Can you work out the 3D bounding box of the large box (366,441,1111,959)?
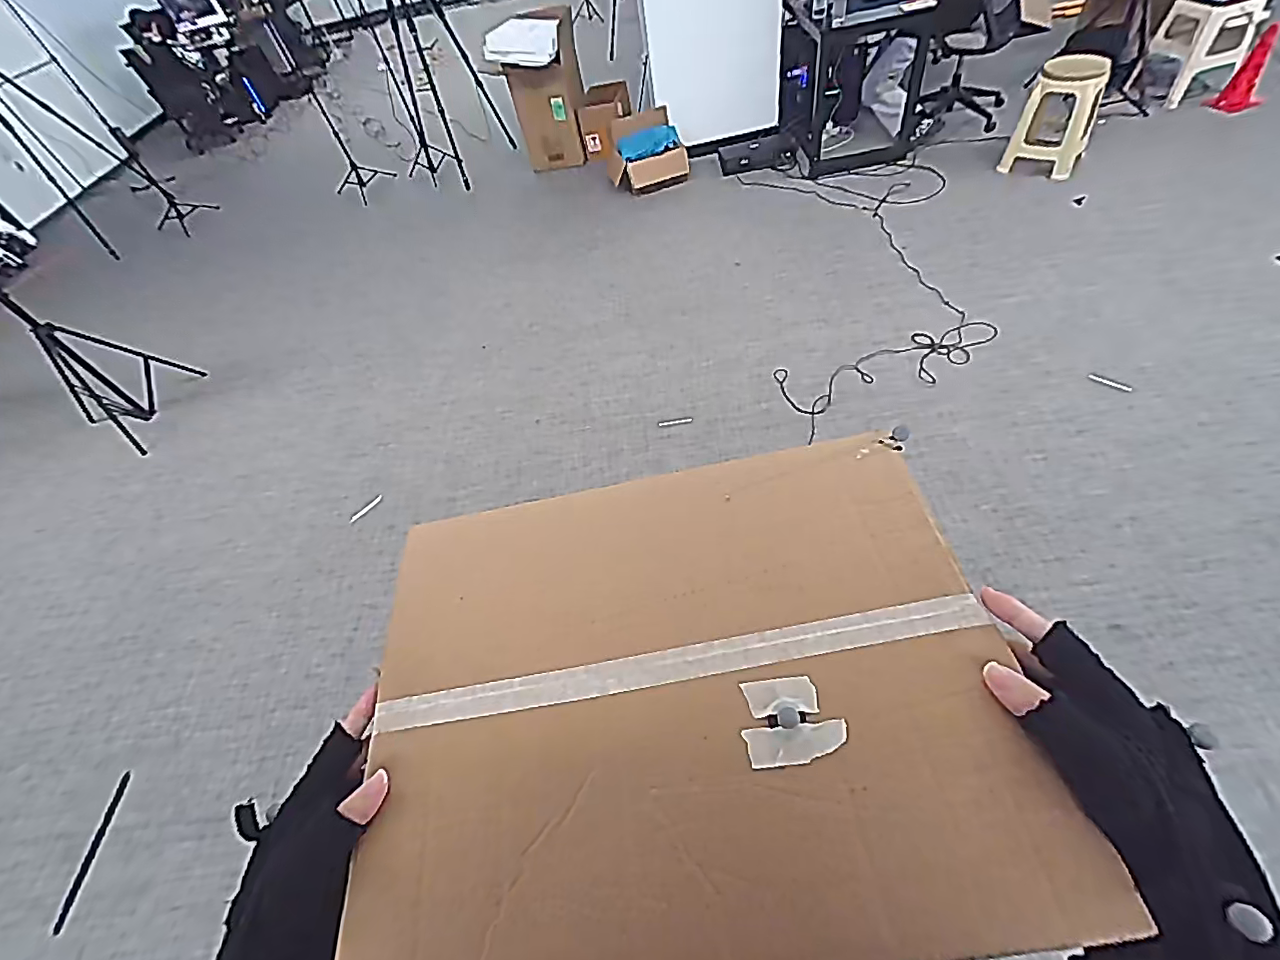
[{"bbox_3d":[0.048,0.213,0.486,0.408,0.320,0.320,-11,53,4],"label":"large box"}]
